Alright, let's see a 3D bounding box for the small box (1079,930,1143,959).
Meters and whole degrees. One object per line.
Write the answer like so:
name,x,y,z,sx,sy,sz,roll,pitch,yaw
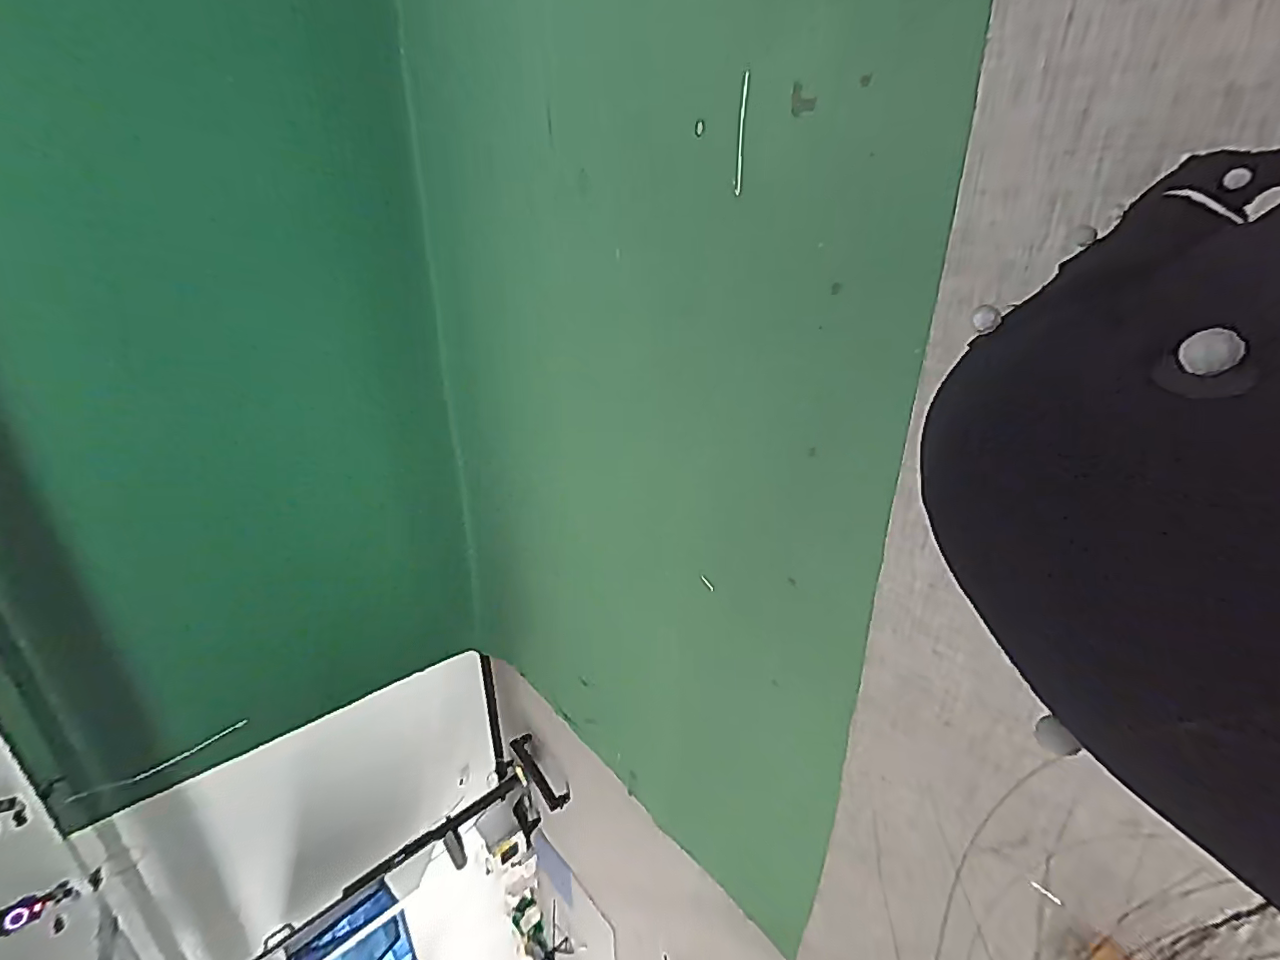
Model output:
small box,1.216,1.312,1.373,0.168,0.176,0.179,23,122,44
